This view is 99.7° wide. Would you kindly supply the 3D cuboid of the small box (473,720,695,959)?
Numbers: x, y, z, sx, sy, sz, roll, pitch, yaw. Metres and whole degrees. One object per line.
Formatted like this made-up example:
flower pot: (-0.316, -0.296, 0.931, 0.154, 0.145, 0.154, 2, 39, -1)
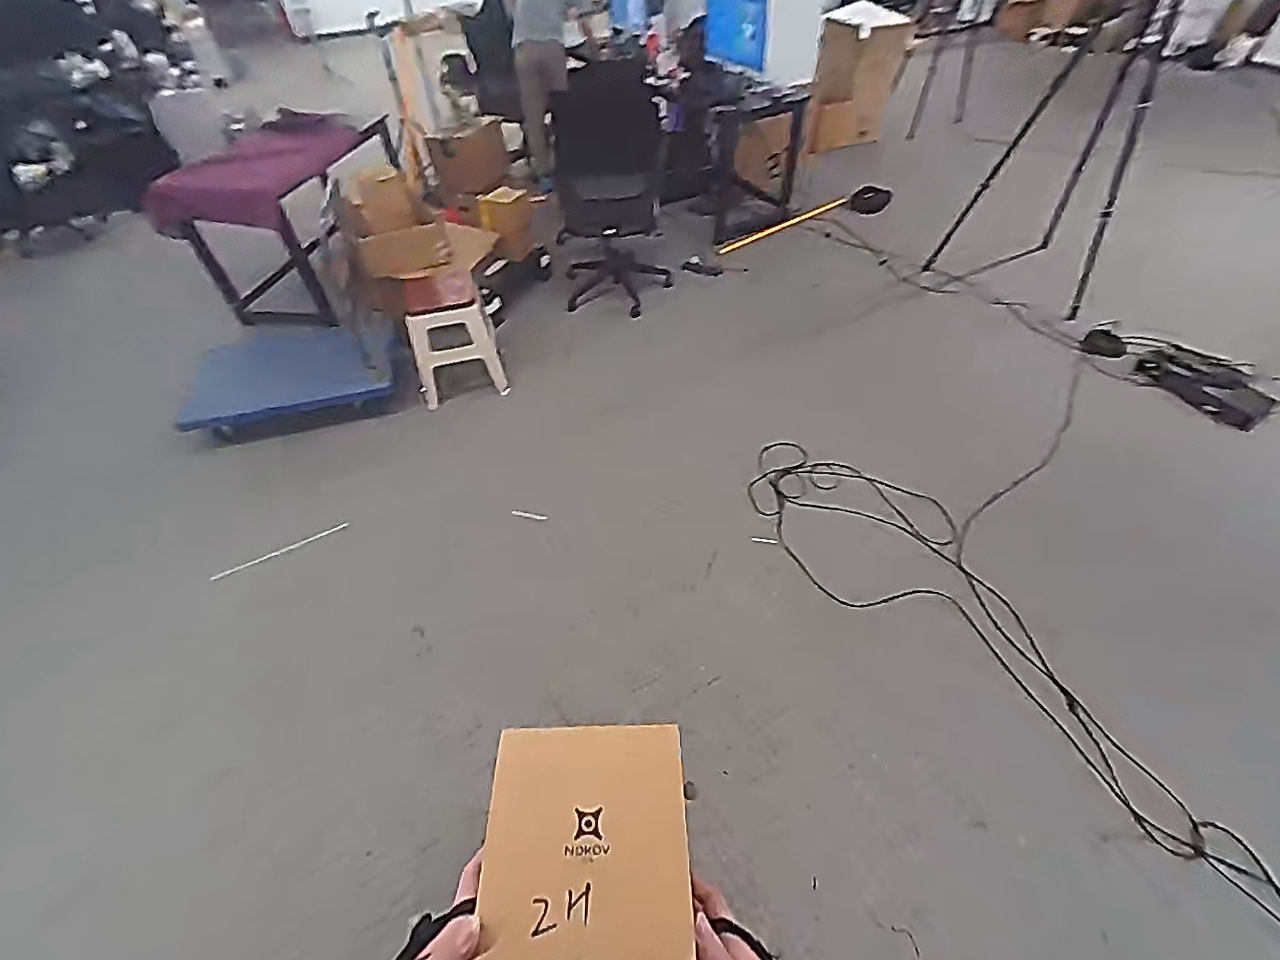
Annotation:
small box: (-0.043, 0.346, 0.508, 0.168, 0.176, 0.179, 0, 46, -1)
